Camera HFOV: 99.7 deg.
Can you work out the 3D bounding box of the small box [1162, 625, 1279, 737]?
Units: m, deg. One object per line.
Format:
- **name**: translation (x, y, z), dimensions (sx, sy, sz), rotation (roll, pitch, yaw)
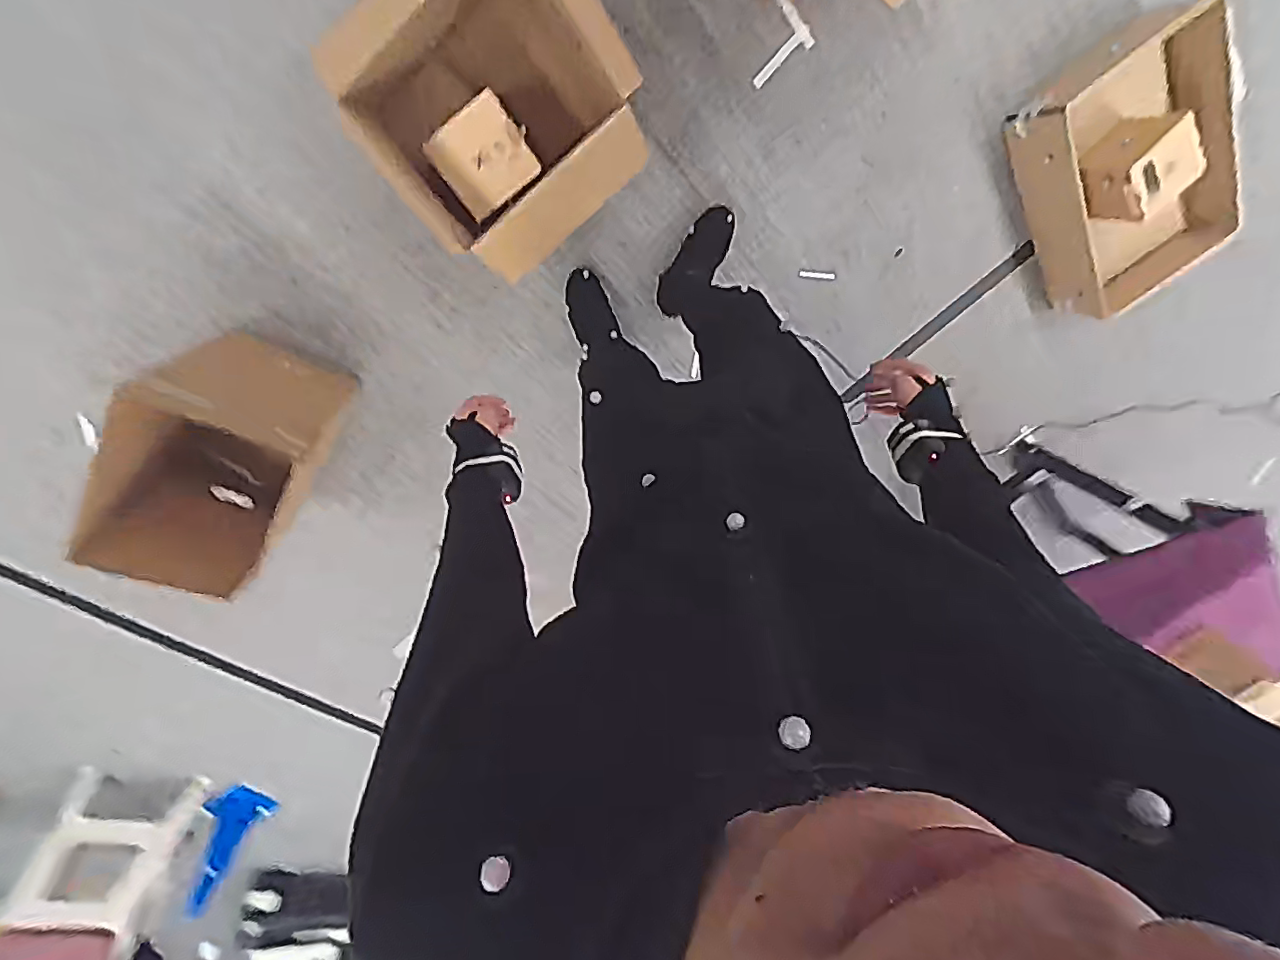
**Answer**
- **small box**: translation (1.445, 0.483, 1.319), dimensions (0.179, 0.176, 0.168), rotation (33, 109, -25)
